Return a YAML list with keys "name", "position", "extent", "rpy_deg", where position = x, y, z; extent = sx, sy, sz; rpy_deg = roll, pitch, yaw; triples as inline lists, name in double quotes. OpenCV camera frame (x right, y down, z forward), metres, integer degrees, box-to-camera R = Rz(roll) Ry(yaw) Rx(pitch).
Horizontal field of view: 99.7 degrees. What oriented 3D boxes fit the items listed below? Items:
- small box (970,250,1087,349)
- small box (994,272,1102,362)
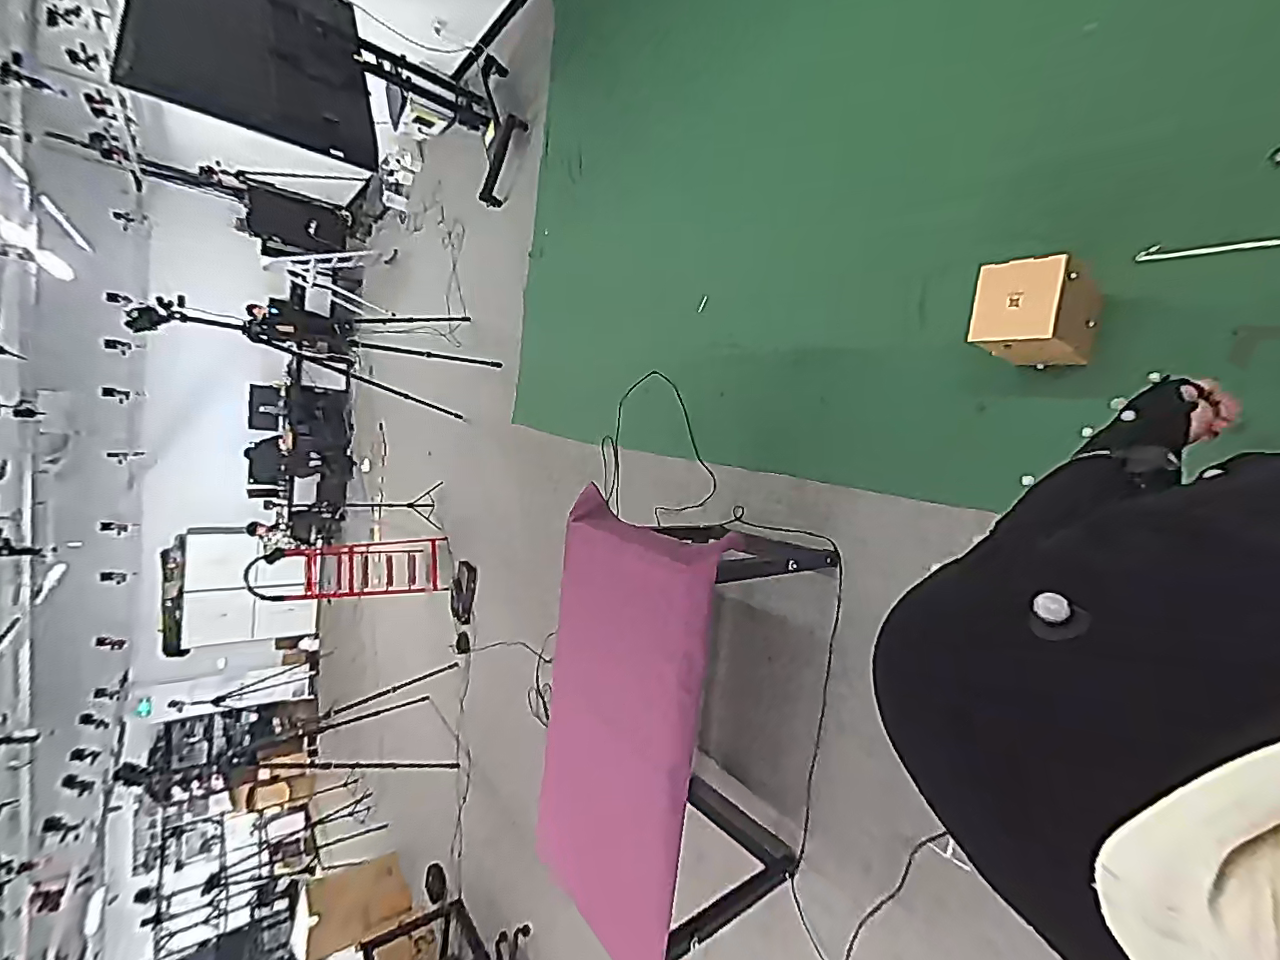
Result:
- name: "small box"
  position: [0.889, -0.400, 1.235]
  extent: [0.168, 0.176, 0.179]
  rpy_deg: [13, 98, 51]
- name: "small box"
  position: [1.013, -0.395, 1.339]
  extent: [0.168, 0.176, 0.179]
  rpy_deg: [14, 100, 51]
